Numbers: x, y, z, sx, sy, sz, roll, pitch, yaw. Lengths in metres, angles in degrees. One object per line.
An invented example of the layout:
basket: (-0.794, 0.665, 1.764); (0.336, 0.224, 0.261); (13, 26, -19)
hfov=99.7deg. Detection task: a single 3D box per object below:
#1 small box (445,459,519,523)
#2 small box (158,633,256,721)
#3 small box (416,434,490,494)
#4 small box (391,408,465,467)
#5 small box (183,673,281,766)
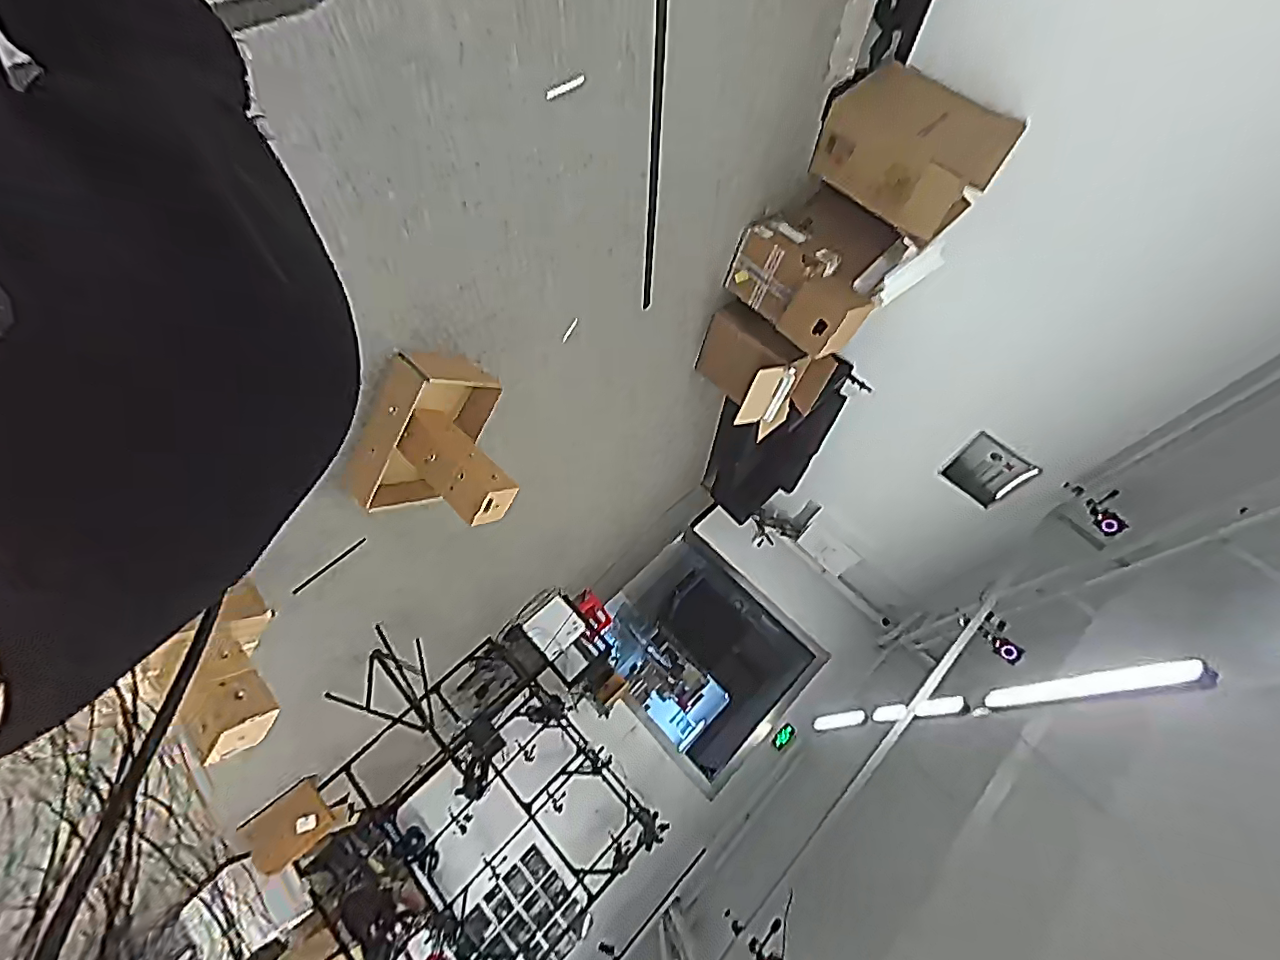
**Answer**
small box: (-0.600, 0.037, 2.039); (0.168, 0.176, 0.179); (-55, 163, 21)
small box: (-1.358, 0.603, 1.692); (0.179, 0.176, 0.168); (-53, 161, 18)
small box: (-0.720, -0.066, 2.084); (0.168, 0.176, 0.179); (-55, 160, 20)
small box: (-0.835, -0.171, 2.131); (0.168, 0.176, 0.179); (-55, 161, 19)
small box: (-1.246, 0.715, 1.648); (0.179, 0.176, 0.168); (-54, 161, 17)
